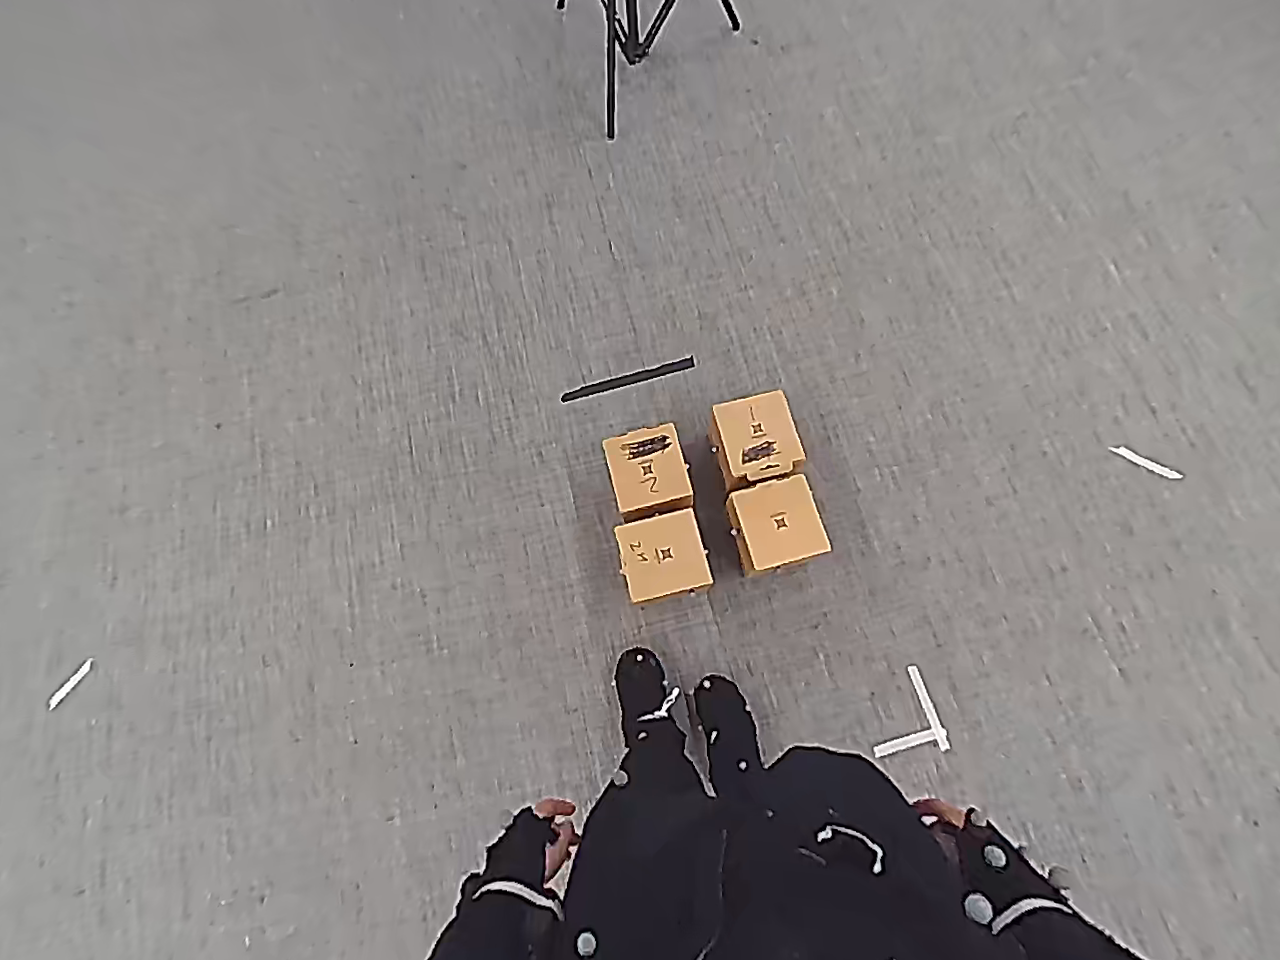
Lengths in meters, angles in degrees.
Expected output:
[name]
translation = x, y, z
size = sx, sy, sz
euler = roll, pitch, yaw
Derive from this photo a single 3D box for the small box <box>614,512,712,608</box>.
[small box]
translation = 0.048, 0.182, 1.195
size = 0.179, 0.176, 0.168
euler = -14, 73, -1
